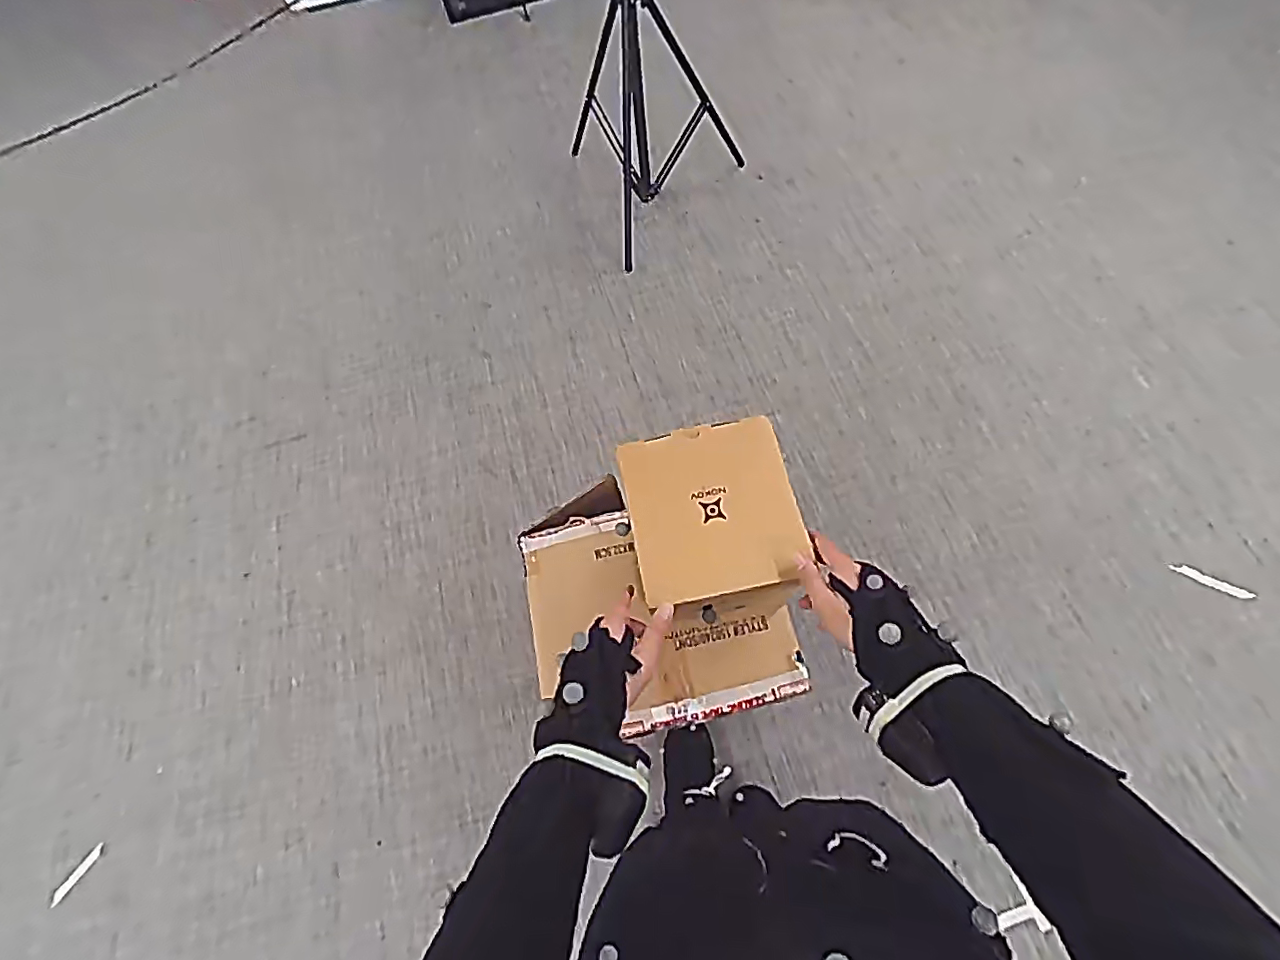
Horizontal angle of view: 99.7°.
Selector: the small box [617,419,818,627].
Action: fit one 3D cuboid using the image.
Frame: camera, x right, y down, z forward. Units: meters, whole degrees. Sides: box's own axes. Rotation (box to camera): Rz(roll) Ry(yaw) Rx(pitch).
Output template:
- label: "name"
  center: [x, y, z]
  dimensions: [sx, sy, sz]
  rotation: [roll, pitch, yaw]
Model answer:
- label: "small box"
  center: [0.078, 0.060, 0.606]
  dimensions: [0.168, 0.176, 0.179]
  rotation: [-13, 67, -1]
